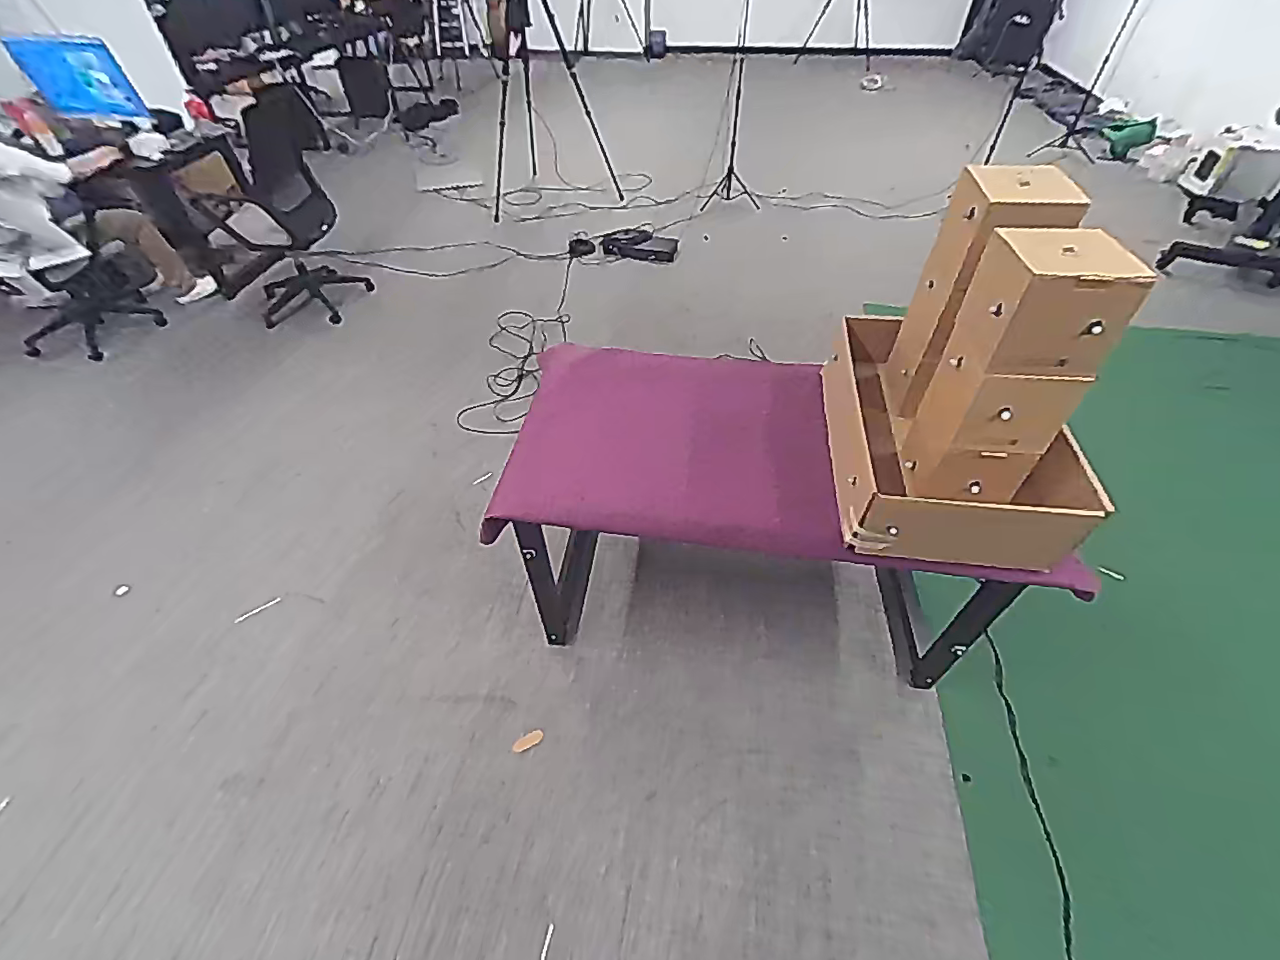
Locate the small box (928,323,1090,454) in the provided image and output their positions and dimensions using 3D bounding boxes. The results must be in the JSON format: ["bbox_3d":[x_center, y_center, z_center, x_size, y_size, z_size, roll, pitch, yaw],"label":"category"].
[{"bbox_3d":[0.650,-0.164,0.979,0.168,0.176,0.179,4,46,7],"label":"small box"}]

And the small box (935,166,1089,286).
[{"bbox_3d":[0.697,-0.480,1.038,0.168,0.176,0.179,5,49,6],"label":"small box"}]

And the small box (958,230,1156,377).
[{"bbox_3d":[0.644,-0.281,0.865,0.168,0.176,0.179,4,46,6],"label":"small box"}]

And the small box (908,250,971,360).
[{"bbox_3d":[0.701,-0.374,1.164,0.168,0.176,0.179,4,49,6],"label":"small box"}]
